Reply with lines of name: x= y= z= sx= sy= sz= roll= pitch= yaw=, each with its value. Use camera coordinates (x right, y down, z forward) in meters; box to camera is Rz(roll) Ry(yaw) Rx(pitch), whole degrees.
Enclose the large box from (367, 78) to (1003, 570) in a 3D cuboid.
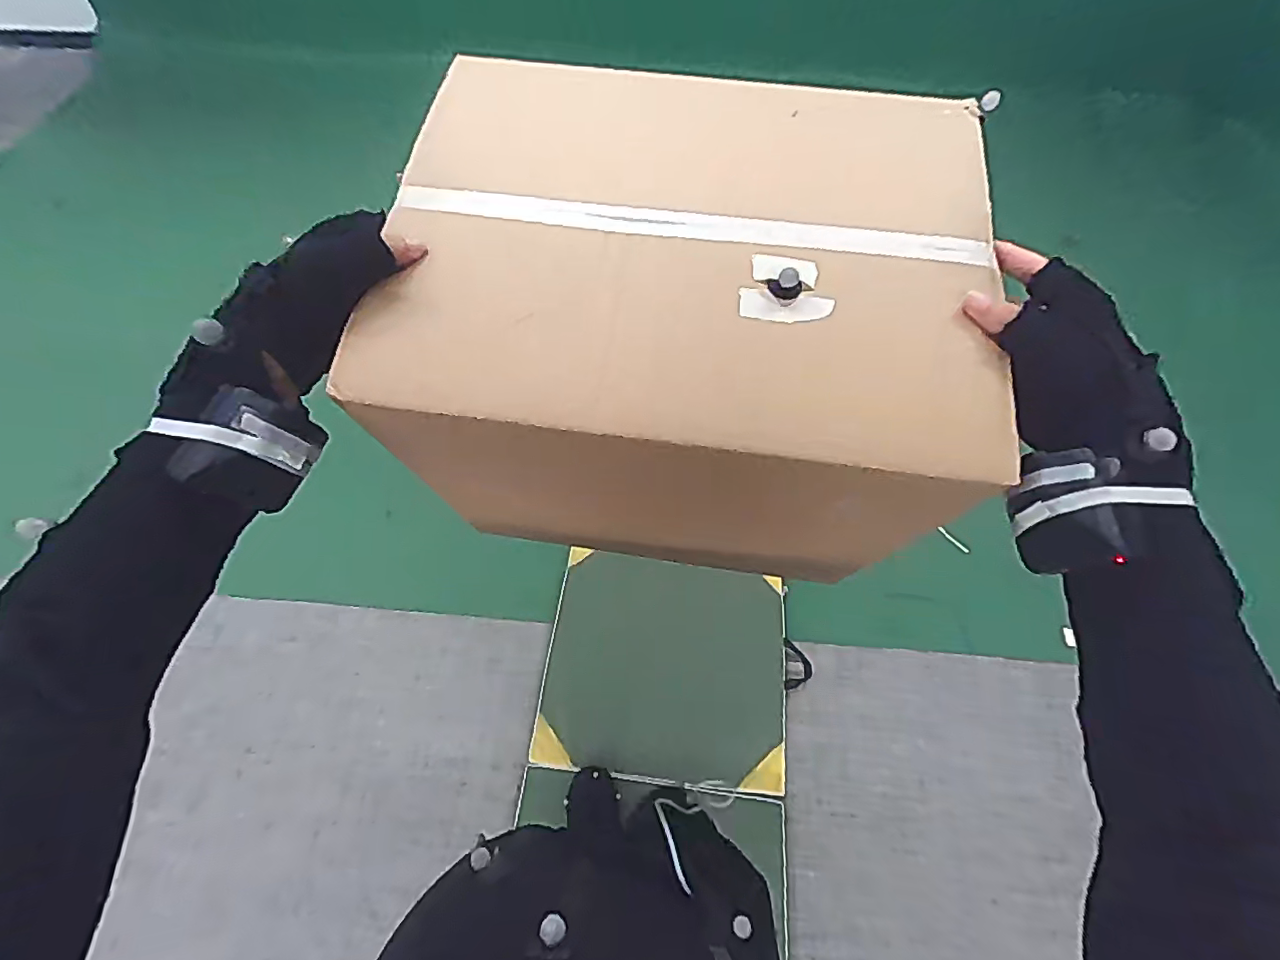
large box: x=0.039 y=-0.116 z=0.523 sx=0.408 sy=0.320 sz=0.320 roll=8 pitch=70 yaw=2
